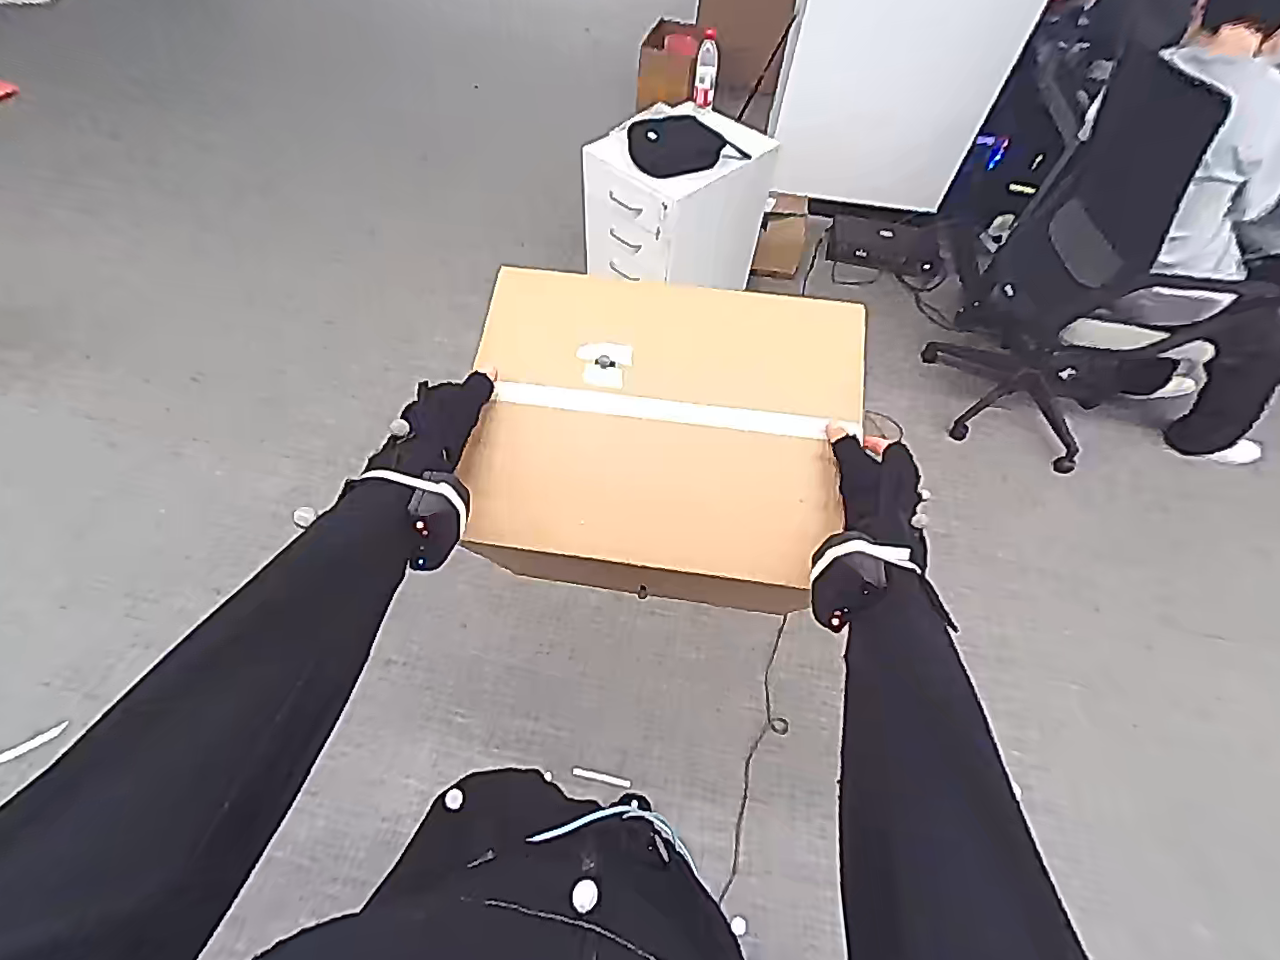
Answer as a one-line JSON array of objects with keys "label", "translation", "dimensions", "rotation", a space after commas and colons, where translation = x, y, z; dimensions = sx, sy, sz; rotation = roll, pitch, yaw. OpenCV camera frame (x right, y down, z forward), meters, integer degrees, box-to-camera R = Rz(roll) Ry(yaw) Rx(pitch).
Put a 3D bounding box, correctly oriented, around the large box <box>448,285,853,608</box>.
[{"label": "large box", "translation": [0.029, -0.017, 0.712], "dimensions": [0.408, 0.320, 0.320], "rotation": [7, 72, 4]}]
